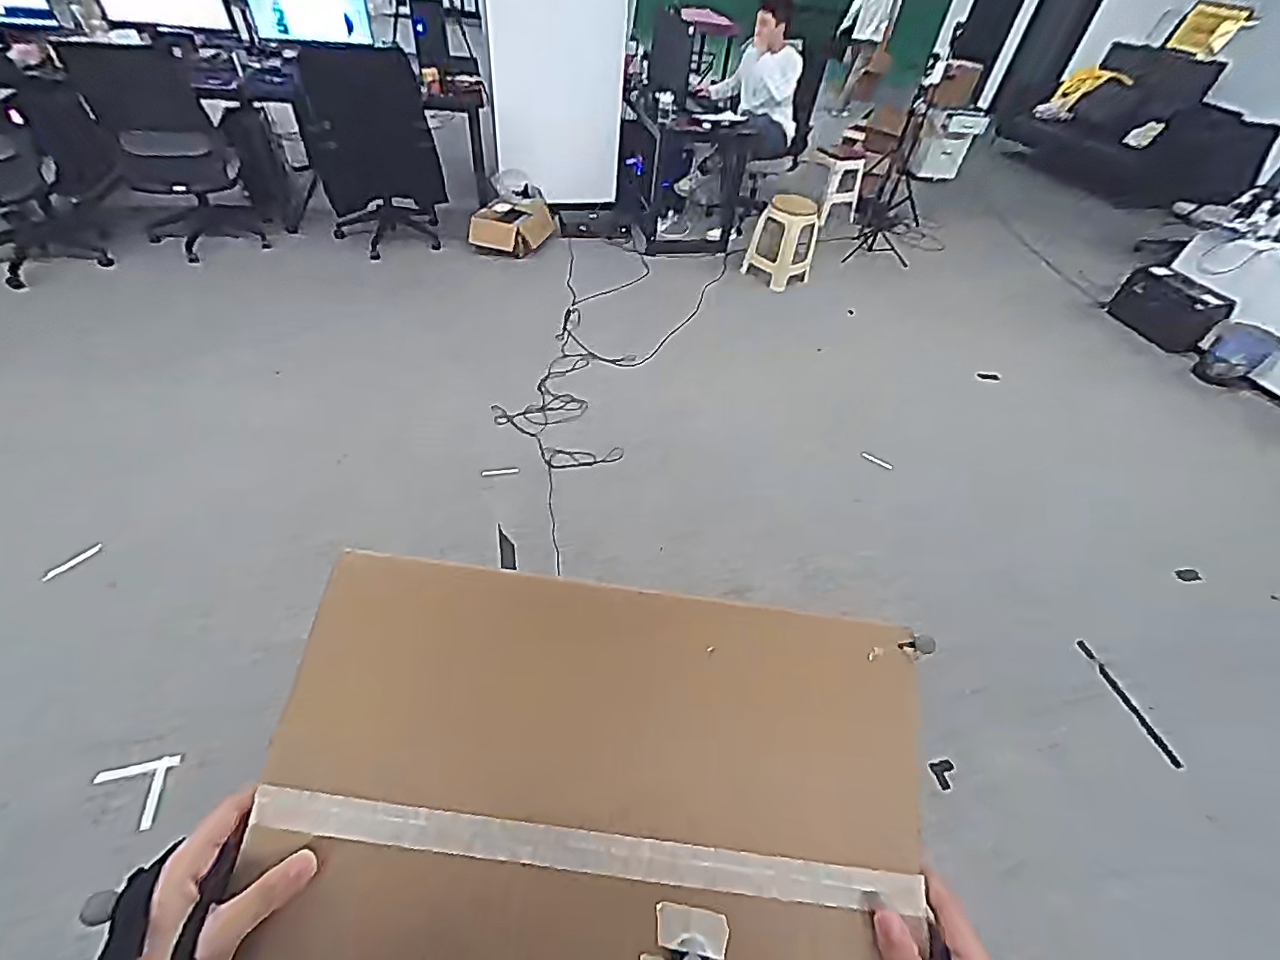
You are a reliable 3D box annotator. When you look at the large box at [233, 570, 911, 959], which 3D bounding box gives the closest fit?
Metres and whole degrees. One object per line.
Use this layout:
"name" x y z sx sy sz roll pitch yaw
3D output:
"large box" -0.037 0.281 0.476 0.408 0.320 0.320 8 71 0
